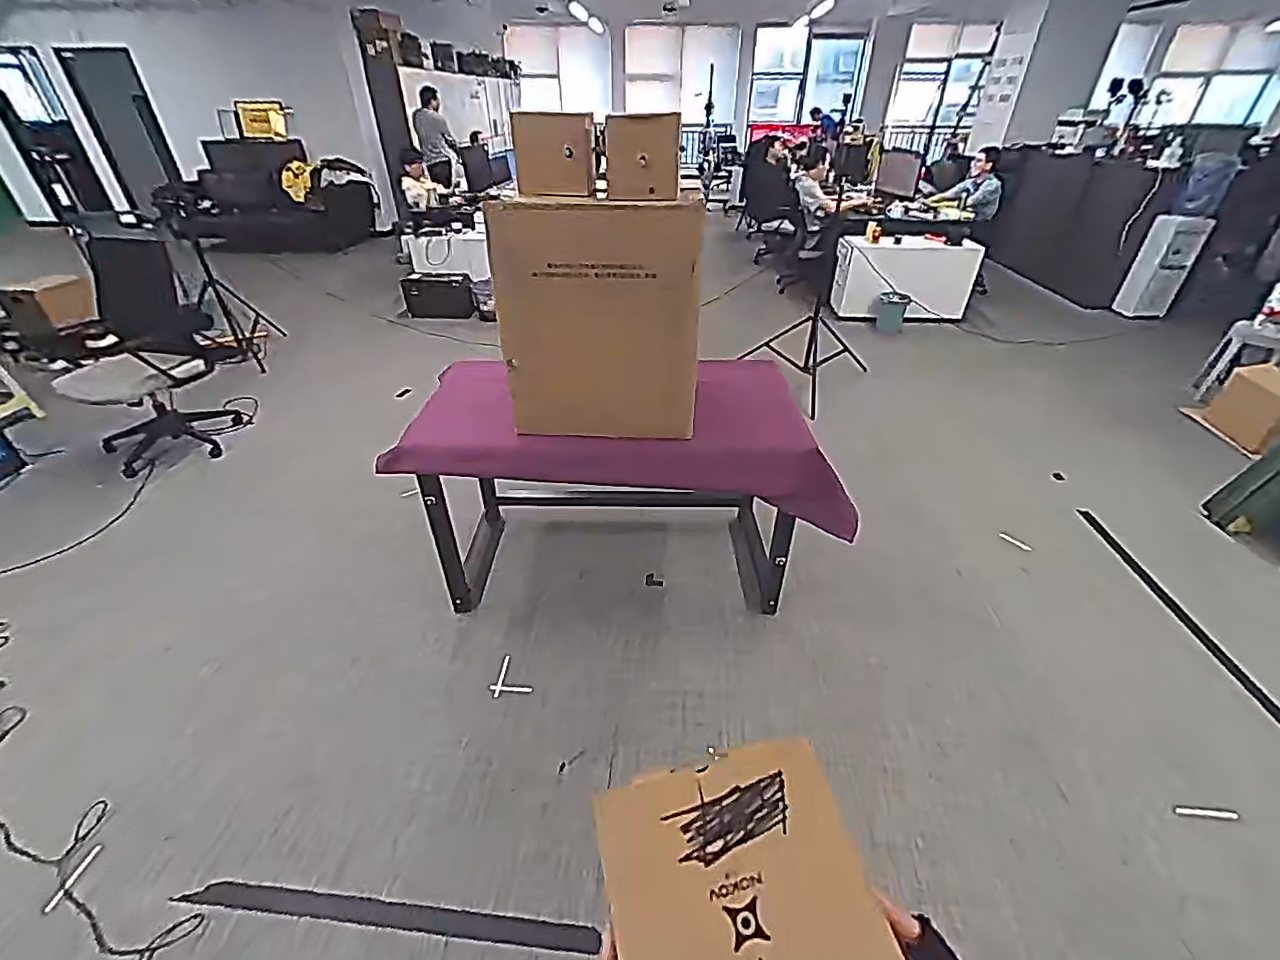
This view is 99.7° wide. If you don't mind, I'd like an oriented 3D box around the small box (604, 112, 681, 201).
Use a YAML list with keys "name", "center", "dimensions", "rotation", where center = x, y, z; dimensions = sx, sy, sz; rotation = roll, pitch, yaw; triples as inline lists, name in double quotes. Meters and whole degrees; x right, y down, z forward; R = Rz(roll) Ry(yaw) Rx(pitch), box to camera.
- name: "small box"
  center: [0.011, -0.759, 1.271]
  dimensions: [0.168, 0.176, 0.179]
  rotation: [2, 35, 4]

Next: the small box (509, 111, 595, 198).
- name: "small box"
  center: [-0.205, -0.797, 1.324]
  dimensions: [0.179, 0.176, 0.168]
  rotation: [2, 34, 2]
